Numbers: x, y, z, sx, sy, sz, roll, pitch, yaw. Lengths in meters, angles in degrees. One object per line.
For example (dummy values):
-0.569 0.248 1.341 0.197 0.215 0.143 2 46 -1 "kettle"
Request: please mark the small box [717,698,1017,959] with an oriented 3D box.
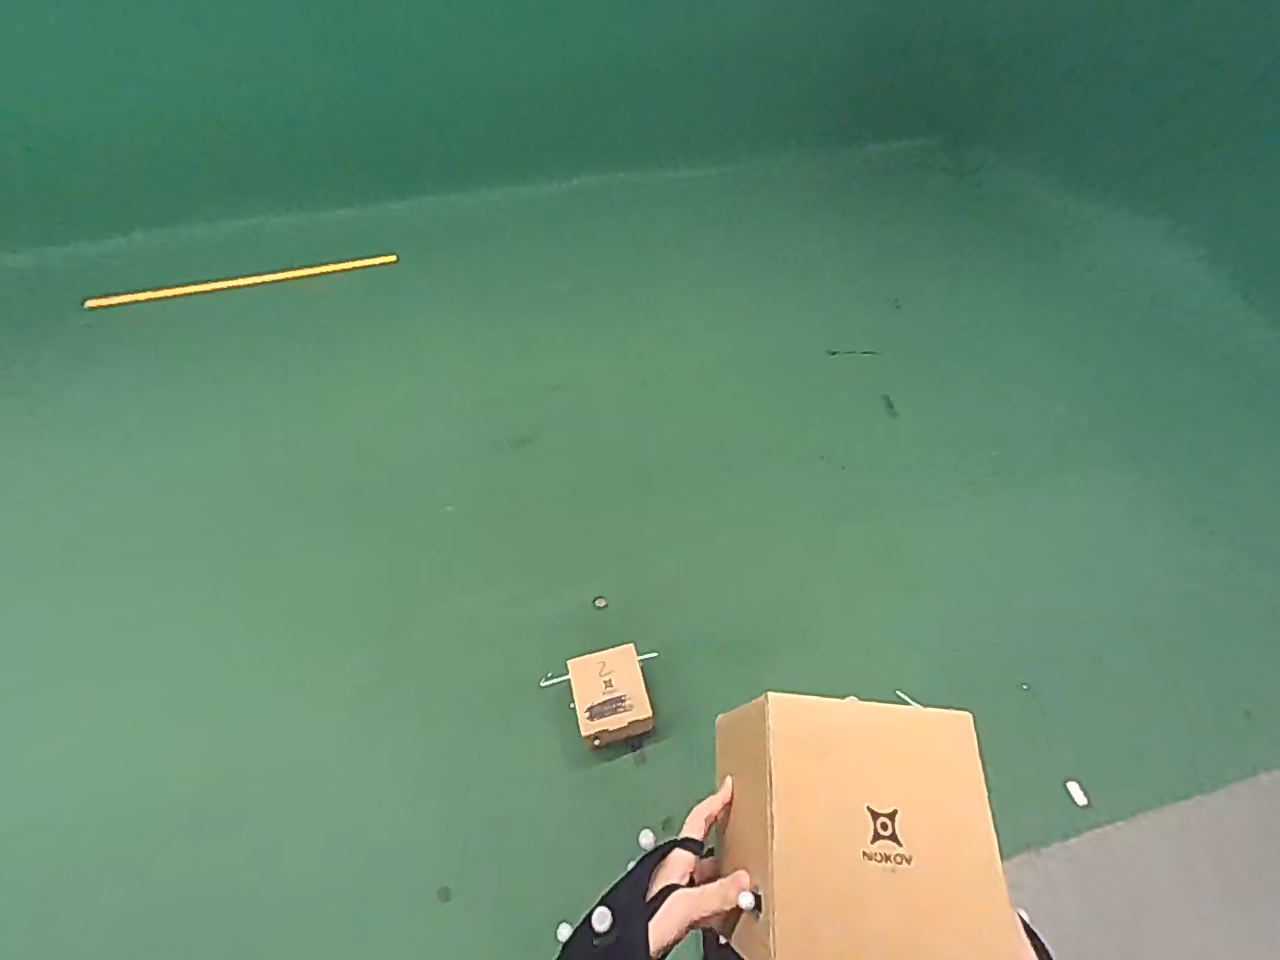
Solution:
0.162 0.291 0.450 0.168 0.176 0.179 5 61 -3 "small box"
